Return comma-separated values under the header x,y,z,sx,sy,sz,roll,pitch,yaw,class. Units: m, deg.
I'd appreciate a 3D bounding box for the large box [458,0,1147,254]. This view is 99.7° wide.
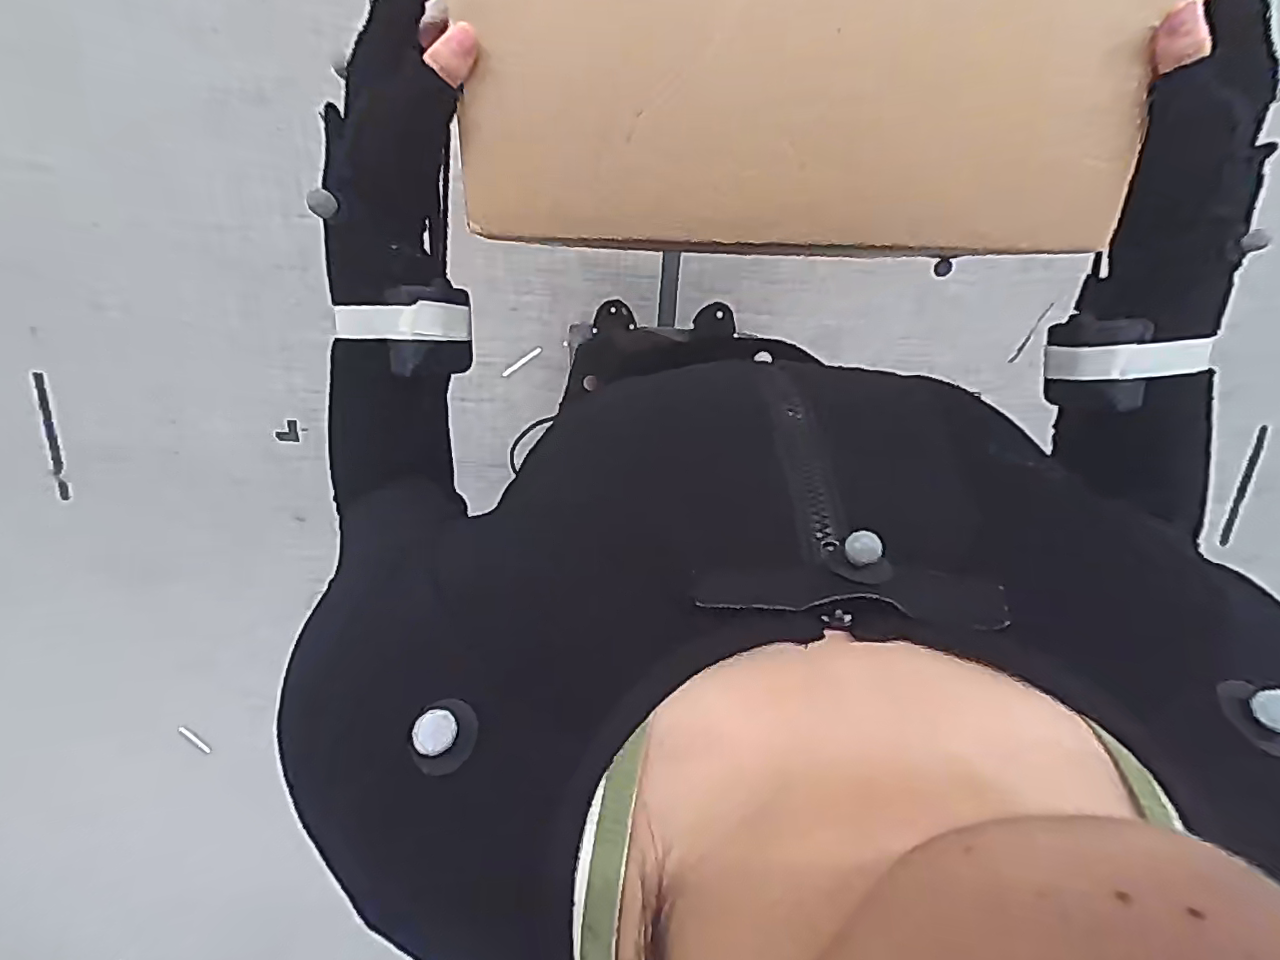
x,y,z,sx,sy,sz,roll,pitch,yaw,class
0.095,-0.355,0.436,0.408,0.320,0.320,1,112,0,large box

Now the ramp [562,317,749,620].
x,y,z,sx,sy,sz,roll,pitch,yaw,class
0.016,0.032,1.619,0.509,0.206,0.991,1,108,-2,ramp
